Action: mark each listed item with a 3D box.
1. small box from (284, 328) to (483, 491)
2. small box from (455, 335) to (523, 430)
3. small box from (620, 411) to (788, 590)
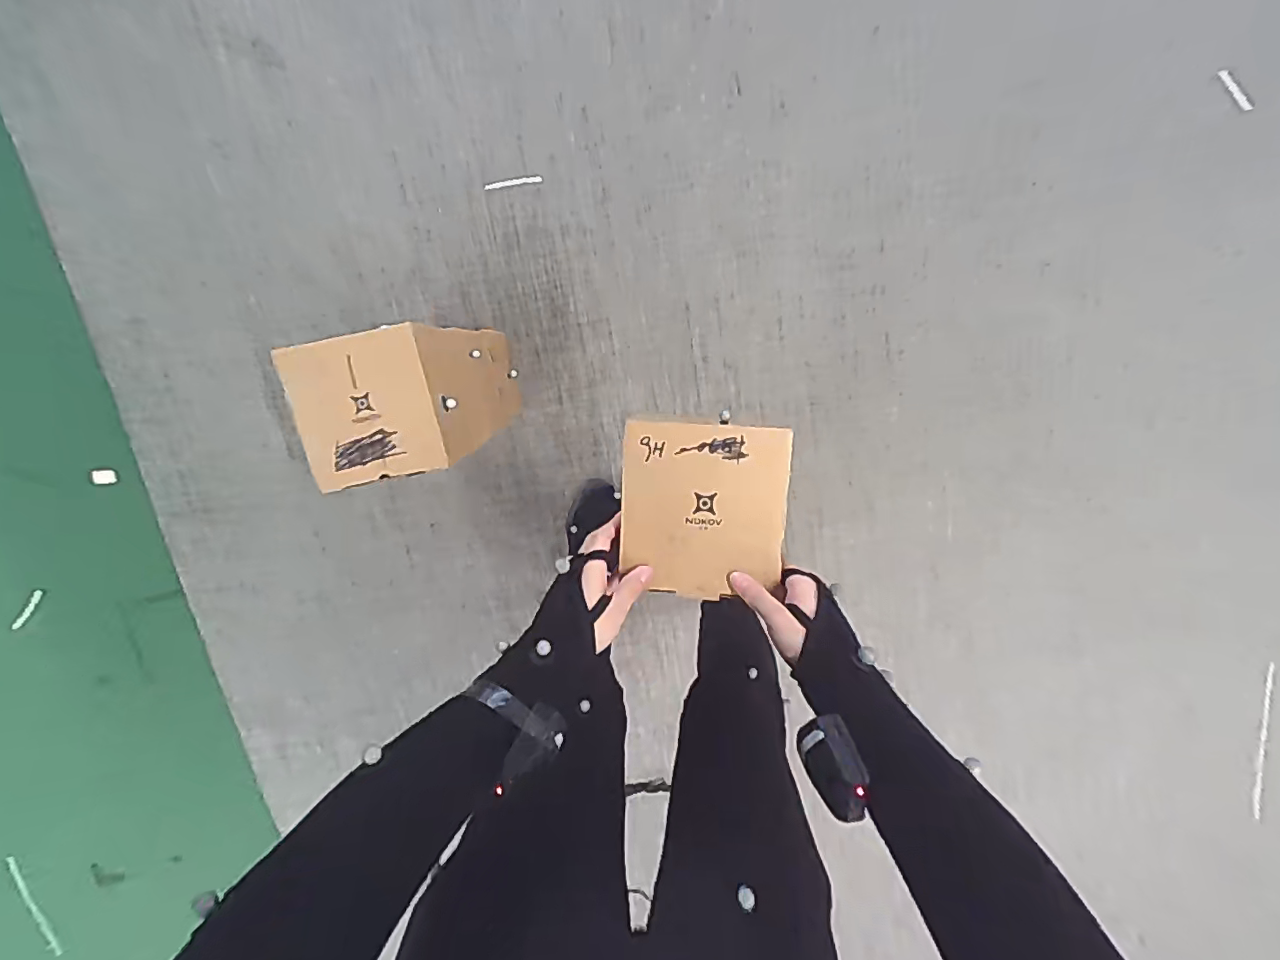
[{"bbox_3d":[-0.326,-0.099,0.729,0.168,0.176,0.179,-11,102,0],"label":"small box"},{"bbox_3d":[-0.339,-0.181,1.047,0.179,0.176,0.168,-10,103,0],"label":"small box"},{"bbox_3d":[0.068,0.014,0.635,0.168,0.176,0.179,2,100,2],"label":"small box"}]
